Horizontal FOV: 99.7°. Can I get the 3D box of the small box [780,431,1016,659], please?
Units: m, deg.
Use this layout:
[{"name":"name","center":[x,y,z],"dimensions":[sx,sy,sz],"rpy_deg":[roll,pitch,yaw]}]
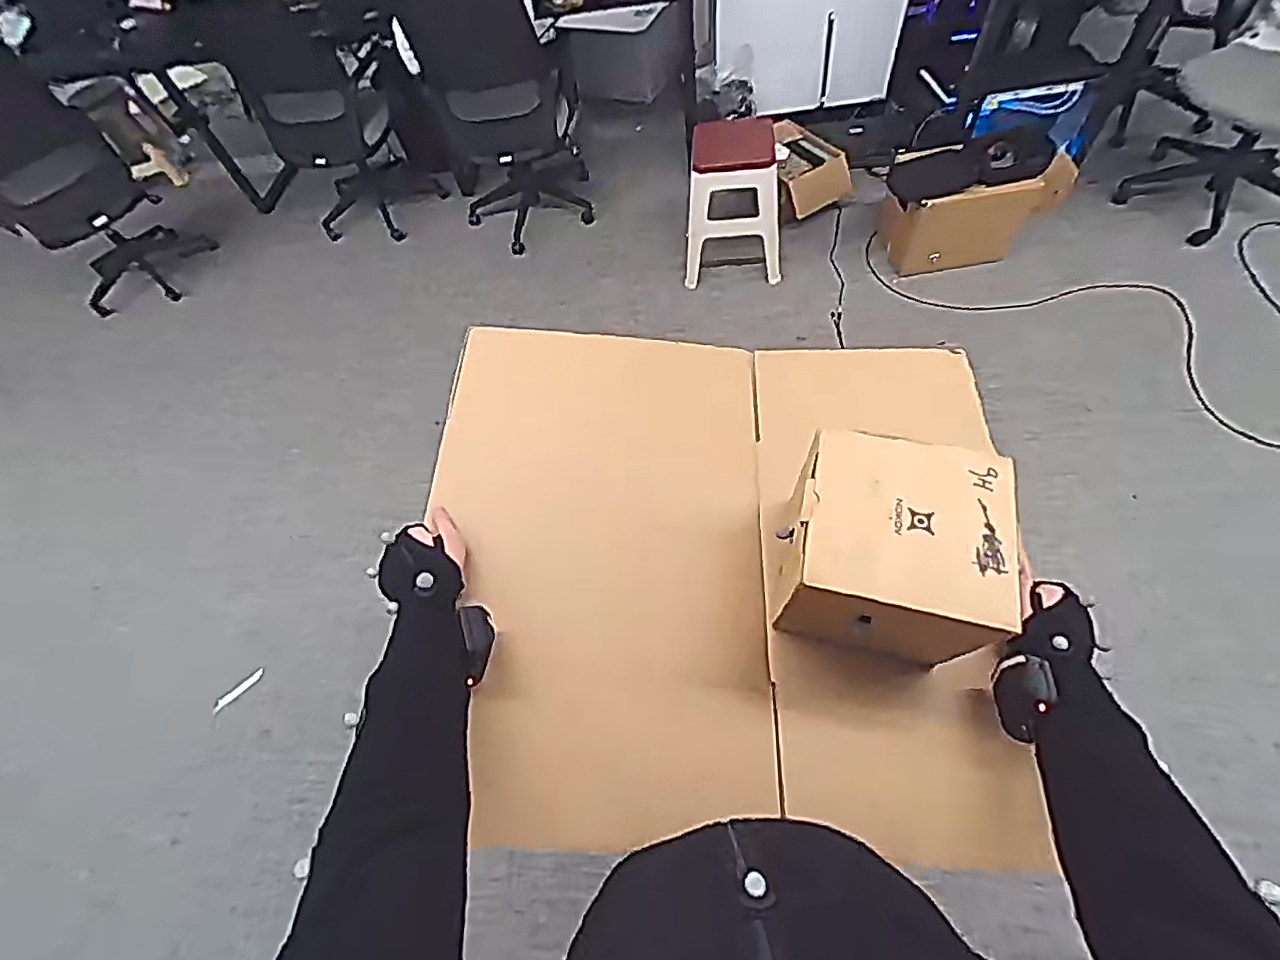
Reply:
[{"name":"small box","center":[0.249,0.074,0.558],"dimensions":[0.179,0.176,0.168],"rpy_deg":[11,64,12]}]
